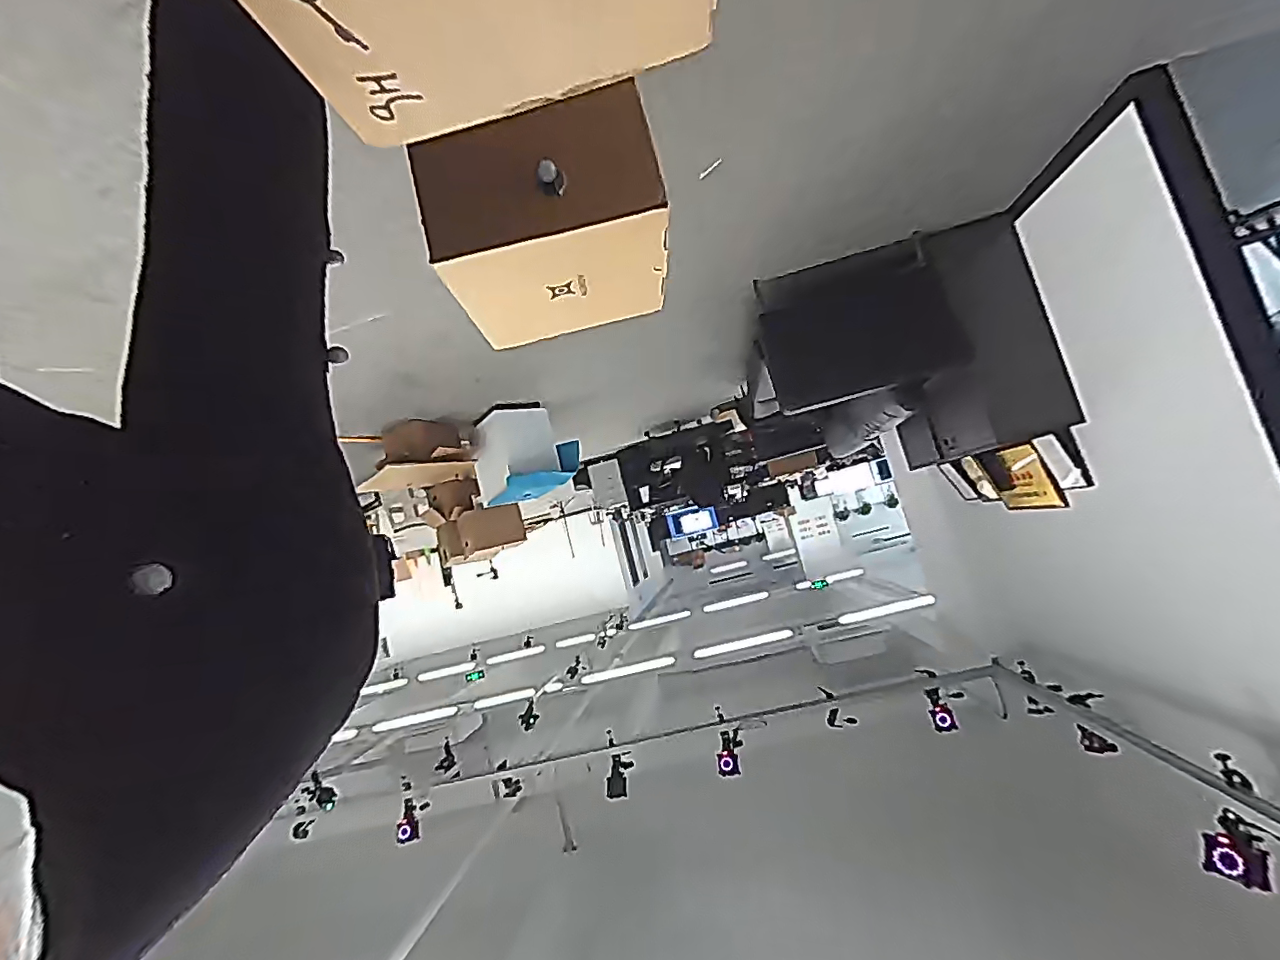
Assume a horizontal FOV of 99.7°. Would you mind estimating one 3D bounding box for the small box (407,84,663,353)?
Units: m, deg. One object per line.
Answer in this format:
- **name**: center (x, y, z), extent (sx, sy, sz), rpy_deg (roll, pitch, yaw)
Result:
- **small box**: center (-0.085, -0.234, 0.466), extent (0.179, 0.176, 0.168), rpy_deg (-14, 173, 0)
